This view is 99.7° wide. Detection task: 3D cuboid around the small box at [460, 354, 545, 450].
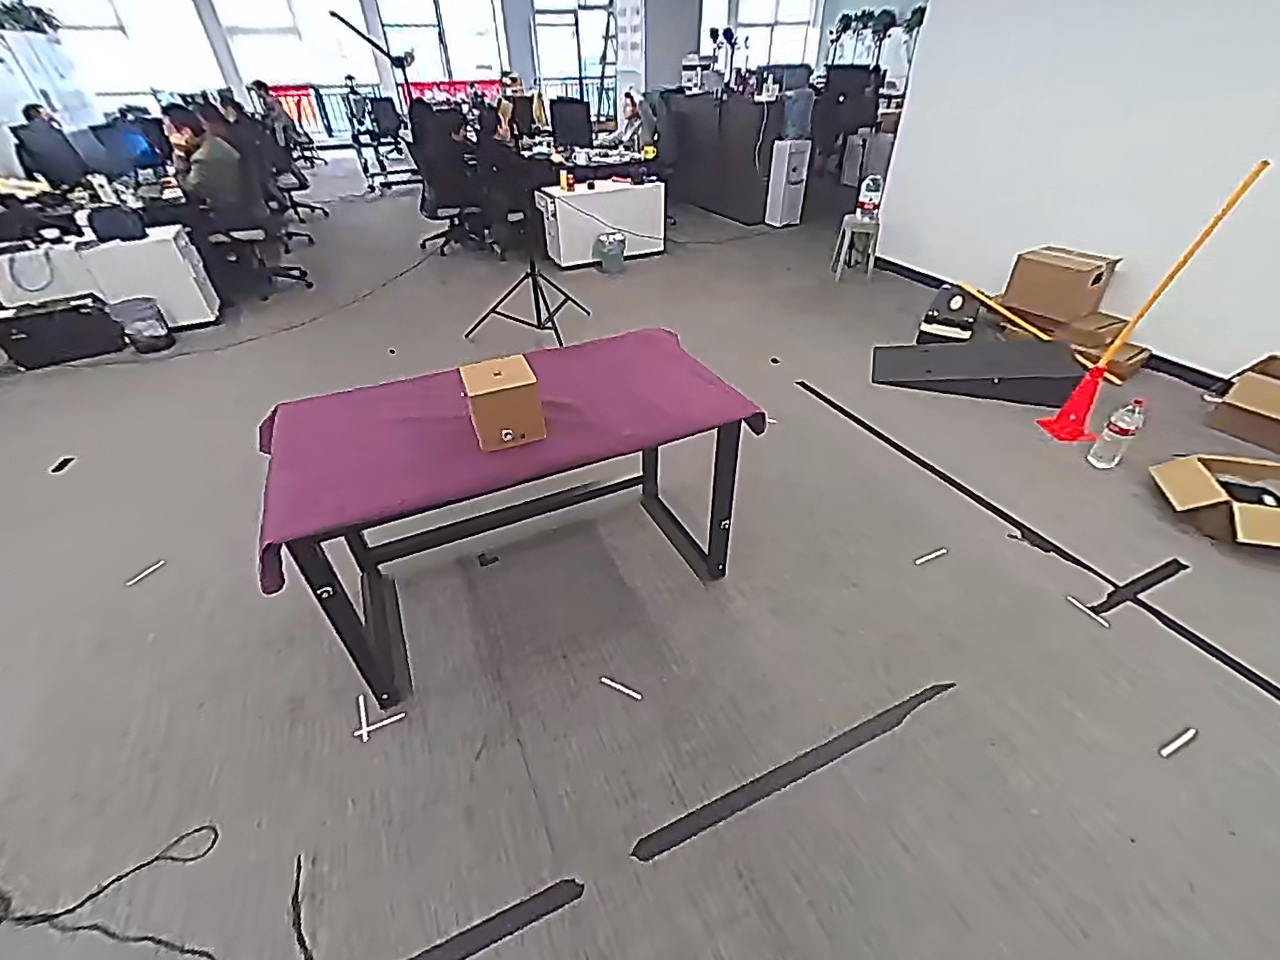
[{"bbox_3d":[-0.350,-0.200,1.382,0.168,0.176,0.179,-16,41,-17],"label":"small box"}]
